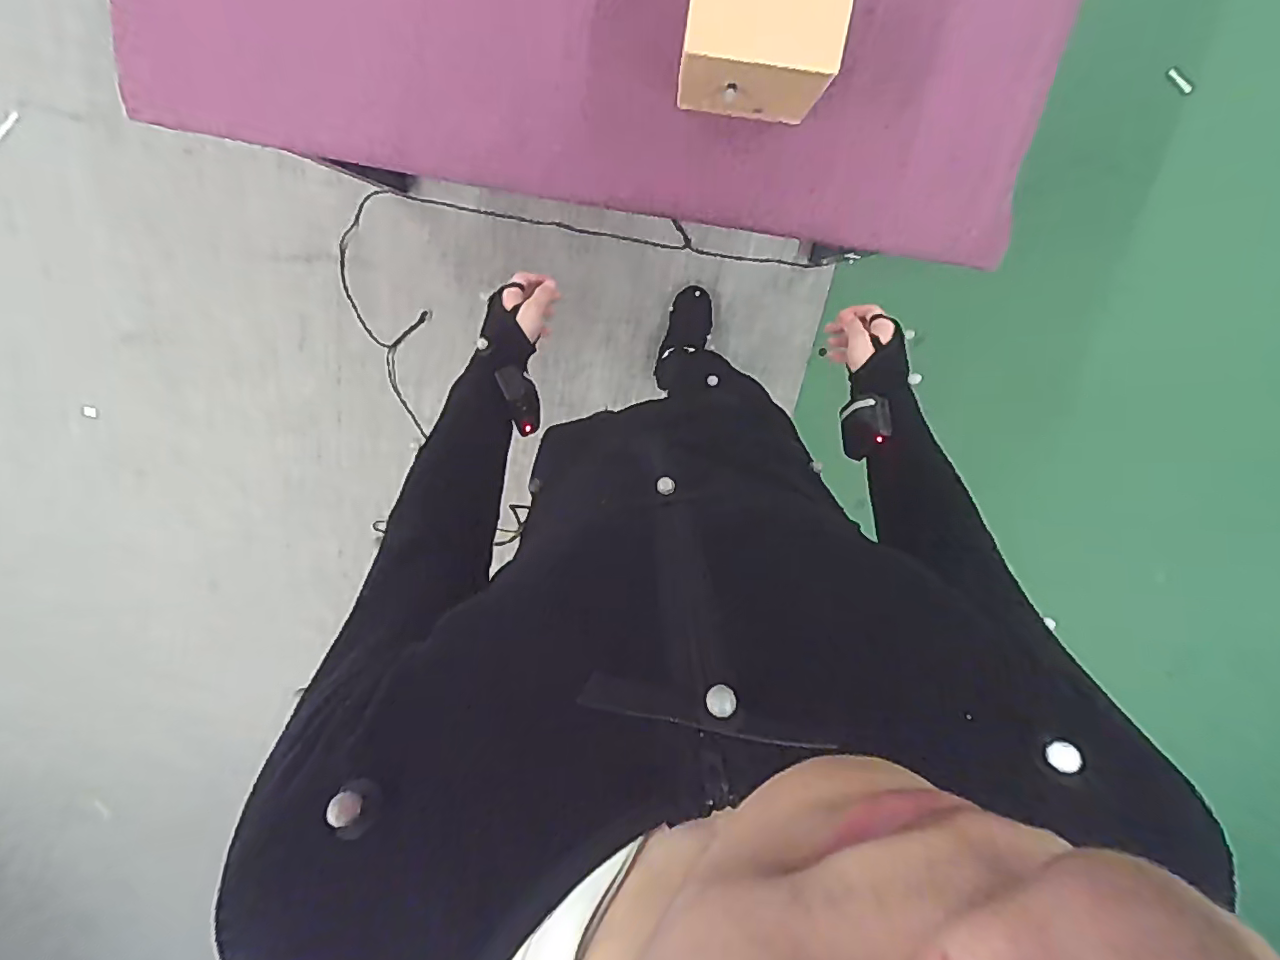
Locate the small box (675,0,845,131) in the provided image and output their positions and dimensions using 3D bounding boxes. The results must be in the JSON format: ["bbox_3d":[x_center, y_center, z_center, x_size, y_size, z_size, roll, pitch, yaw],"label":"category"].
[{"bbox_3d":[0.134,-0.531,0.623,0.168,0.176,0.179,8,106,0],"label":"small box"}]
